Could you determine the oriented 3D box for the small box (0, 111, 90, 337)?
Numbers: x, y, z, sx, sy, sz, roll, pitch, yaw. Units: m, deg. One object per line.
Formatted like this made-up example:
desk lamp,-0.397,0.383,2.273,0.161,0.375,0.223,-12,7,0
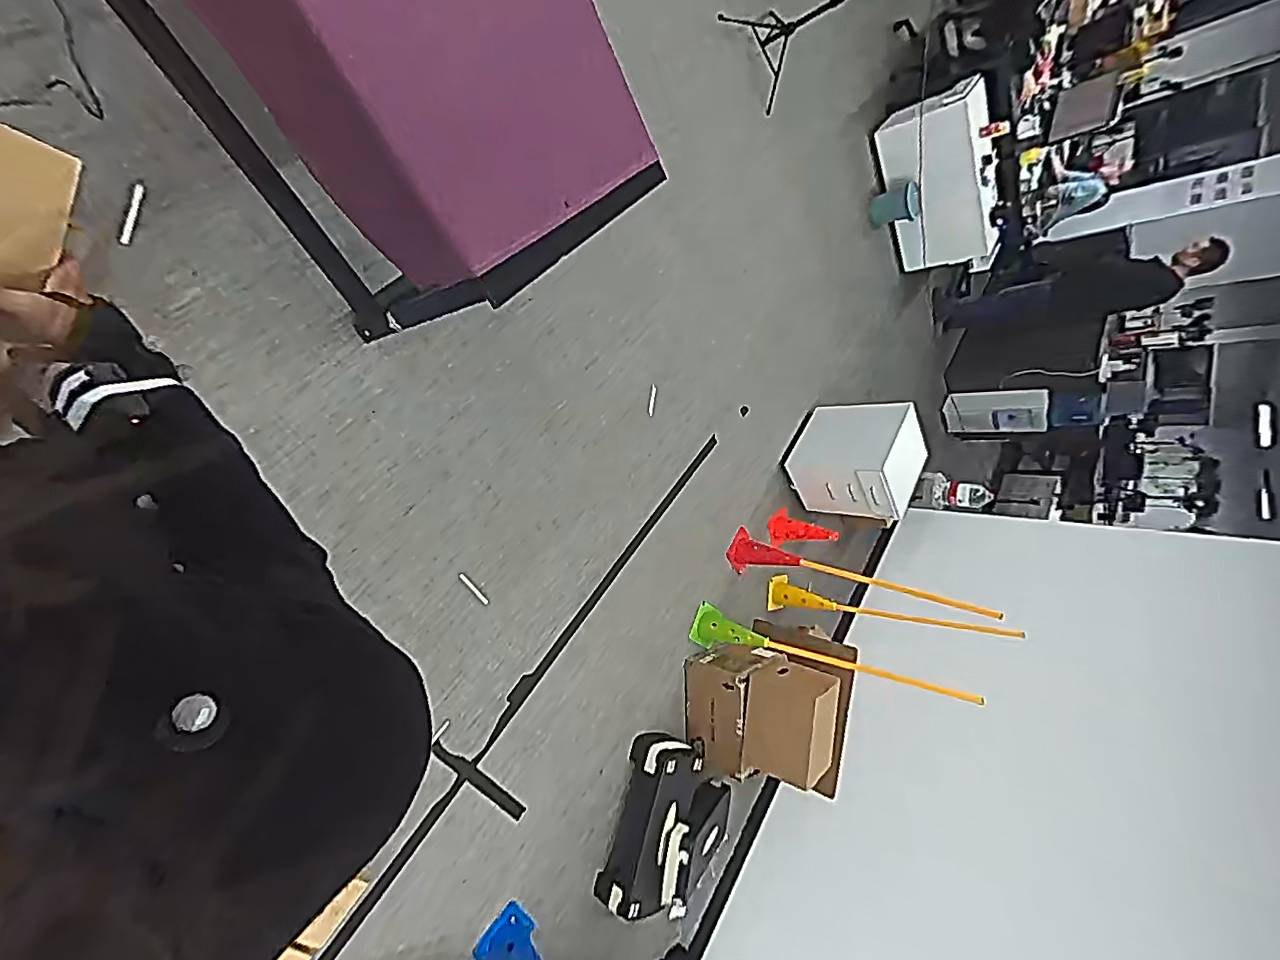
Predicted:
small box,-0.627,-0.236,0.464,0.168,0.176,0.179,14,87,-57
